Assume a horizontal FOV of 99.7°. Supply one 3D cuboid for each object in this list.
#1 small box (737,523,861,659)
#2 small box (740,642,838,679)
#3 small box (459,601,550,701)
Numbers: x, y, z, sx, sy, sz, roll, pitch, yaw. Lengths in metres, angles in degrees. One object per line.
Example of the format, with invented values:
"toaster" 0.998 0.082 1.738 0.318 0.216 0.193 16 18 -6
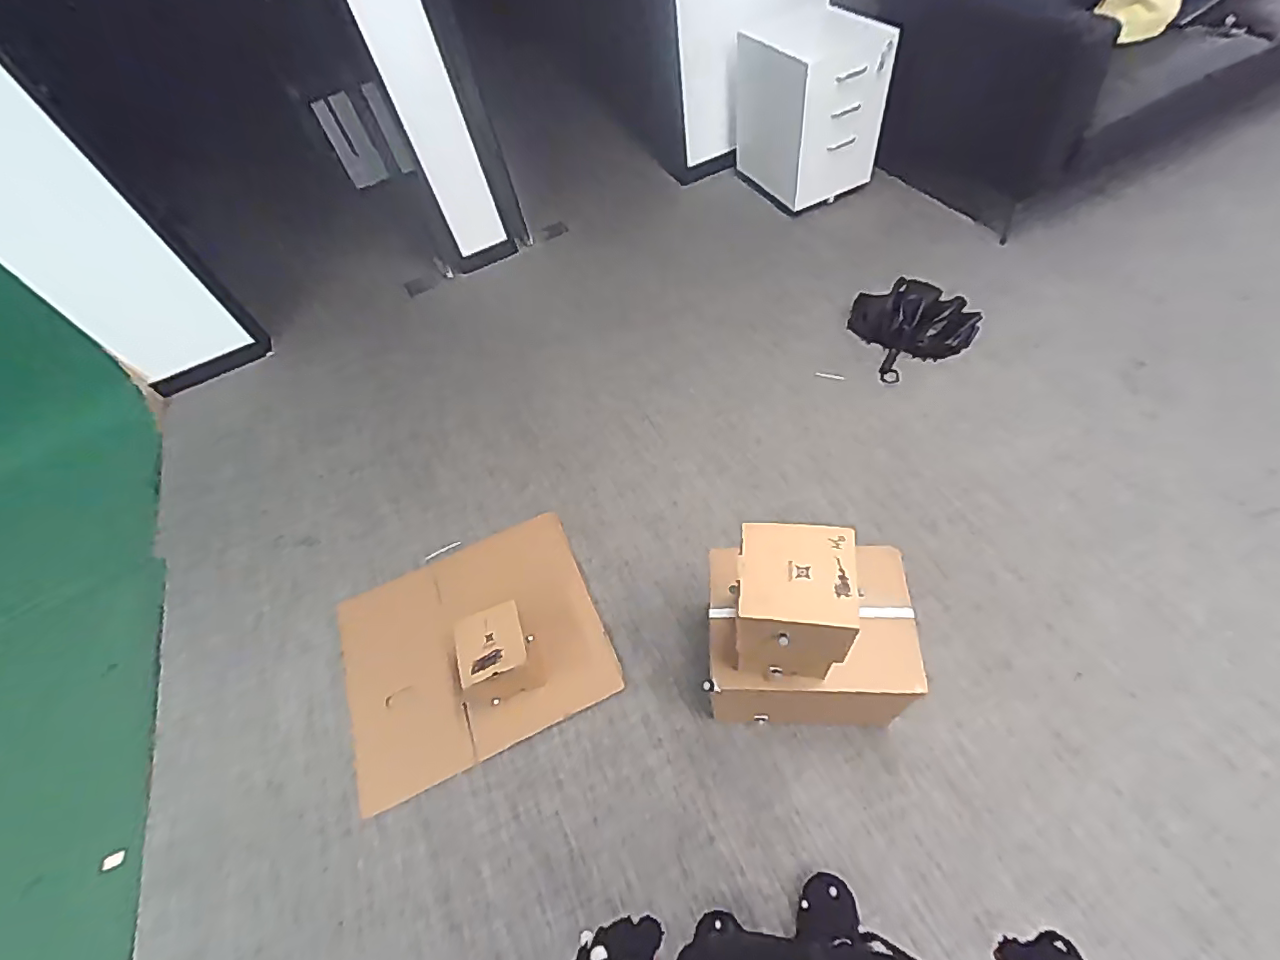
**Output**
"small box" 0.253 0.186 0.894 0.179 0.176 0.168 0 54 11
"small box" 0.277 0.265 1.033 0.168 0.176 0.179 -1 56 11
"small box" -0.342 0.444 1.378 0.168 0.176 0.179 -20 52 -4
